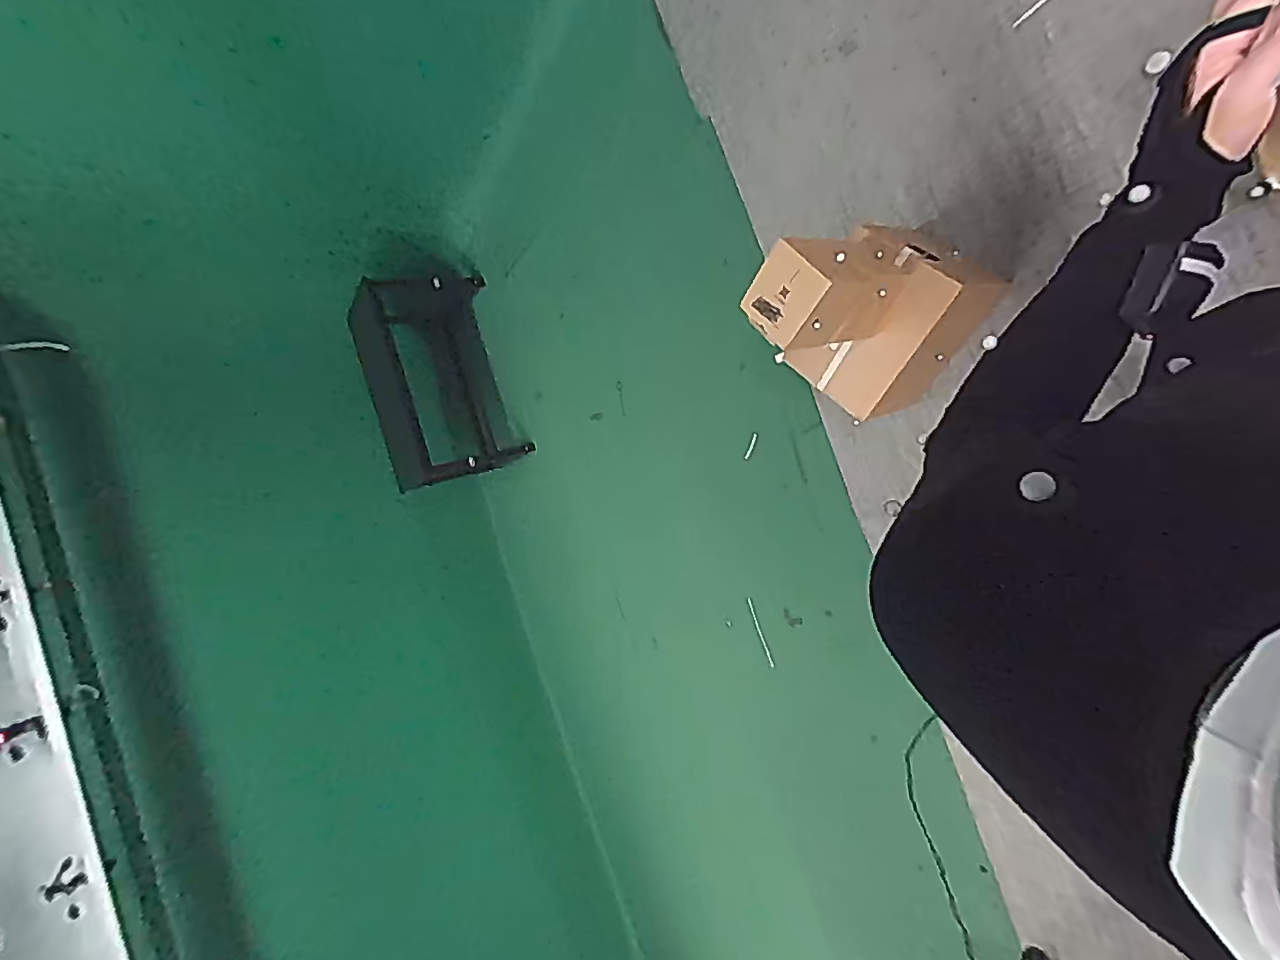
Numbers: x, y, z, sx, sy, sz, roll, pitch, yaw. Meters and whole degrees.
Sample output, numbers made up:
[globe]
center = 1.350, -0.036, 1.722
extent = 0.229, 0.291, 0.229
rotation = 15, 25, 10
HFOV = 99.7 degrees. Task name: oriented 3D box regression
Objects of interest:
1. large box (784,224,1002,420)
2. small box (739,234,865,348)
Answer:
[large box]
center = 0.679, -0.437, 1.484
extent = 0.320, 0.320, 0.408
rotation = 49, 138, 28
[small box]
center = 0.362, -0.421, 1.210
extent = 0.168, 0.176, 0.179
rotation = 54, 138, 23
